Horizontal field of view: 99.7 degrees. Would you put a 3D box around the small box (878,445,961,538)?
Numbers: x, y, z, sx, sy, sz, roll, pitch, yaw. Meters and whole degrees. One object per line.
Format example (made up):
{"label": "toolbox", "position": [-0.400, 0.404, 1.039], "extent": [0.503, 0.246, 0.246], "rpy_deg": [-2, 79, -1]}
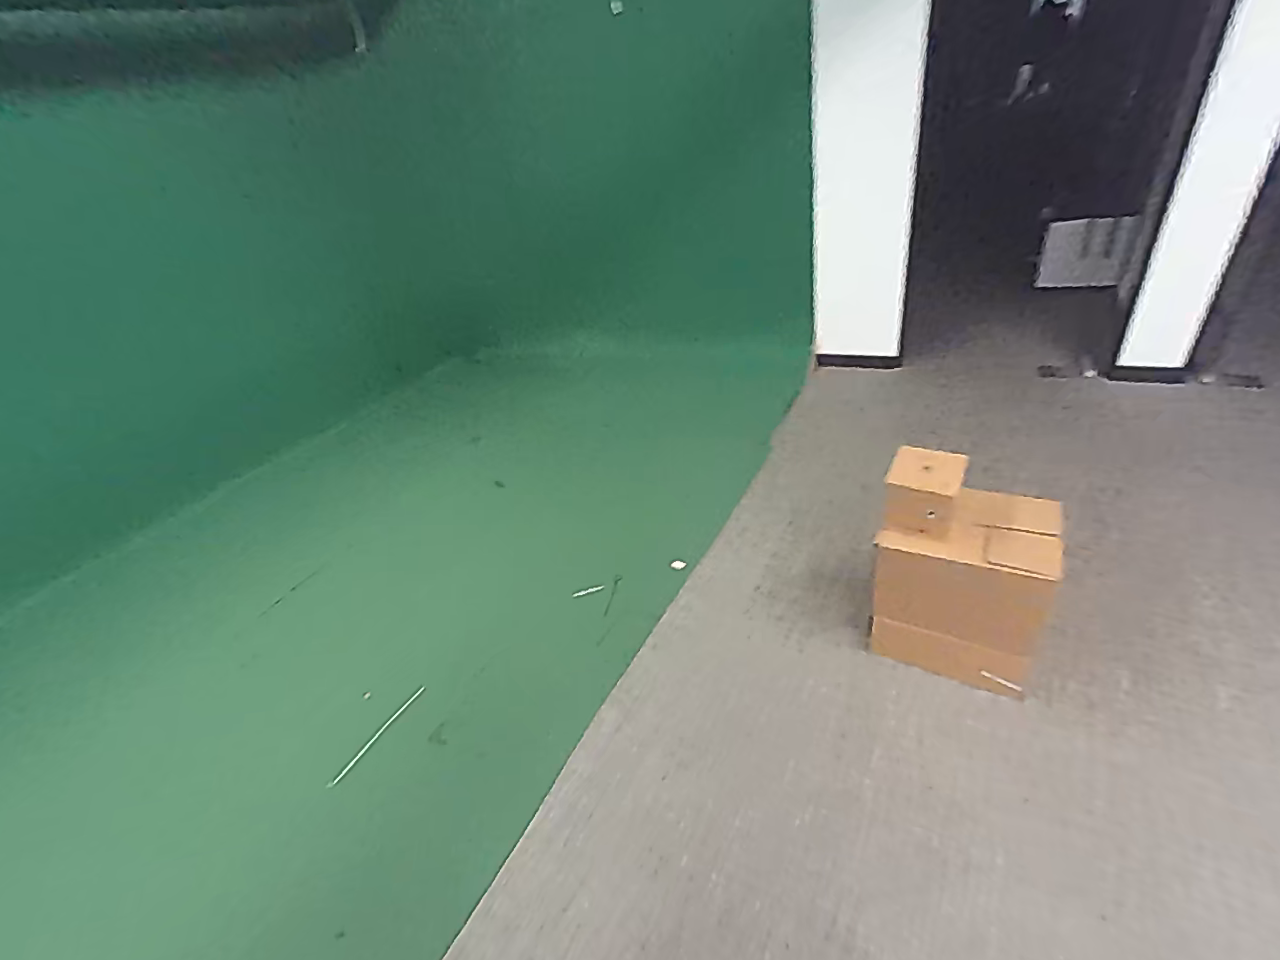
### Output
{"label": "small box", "position": [0.750, 0.032, 1.460], "extent": [0.168, 0.176, 0.179], "rpy_deg": [13, 44, 30]}
